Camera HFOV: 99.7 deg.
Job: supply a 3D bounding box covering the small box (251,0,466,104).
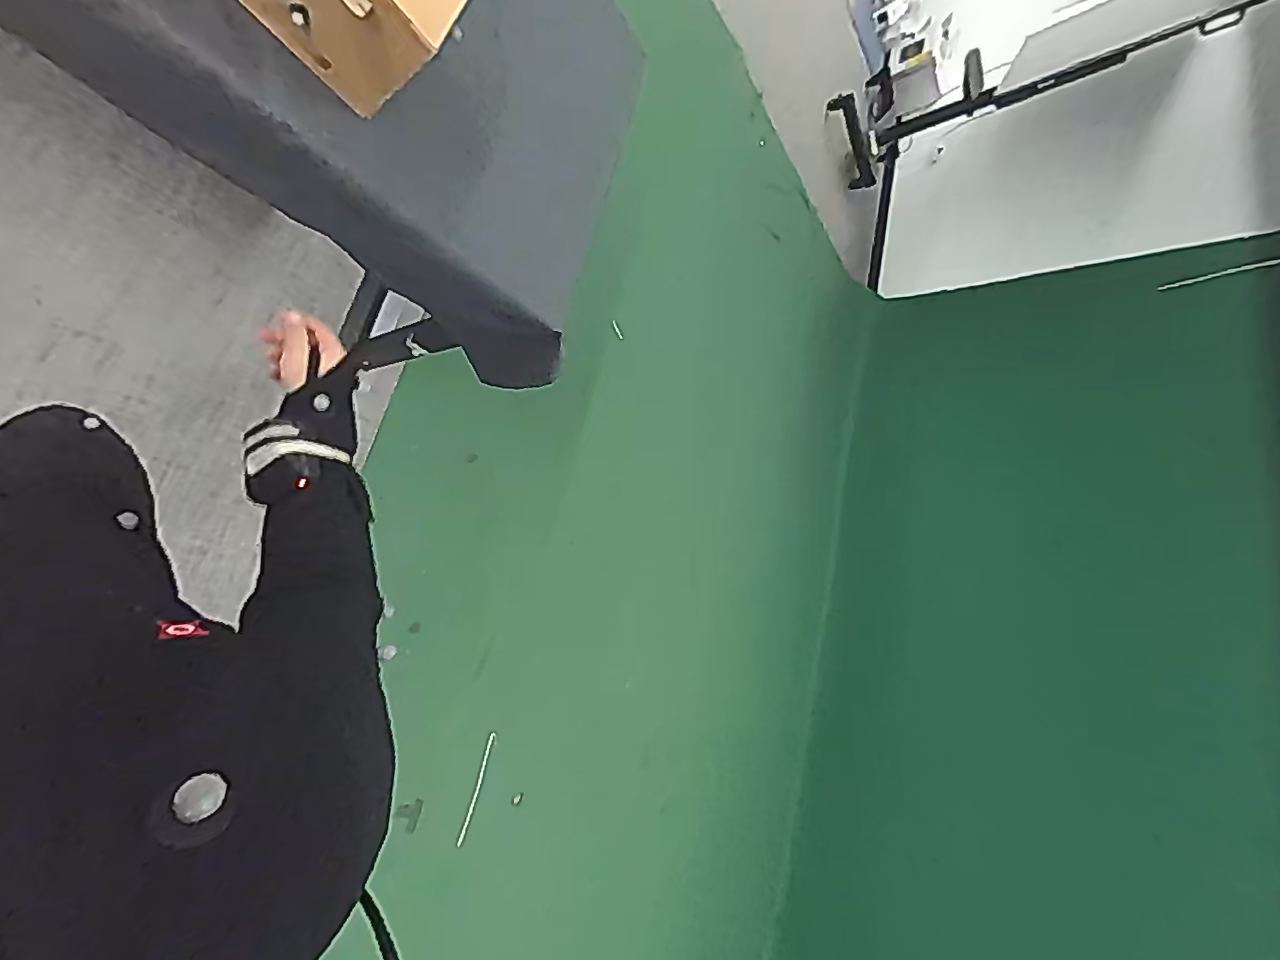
[{"bbox_3d":[-0.290,-0.550,0.564,0.168,0.176,0.179,36,64,-46],"label":"small box"}]
